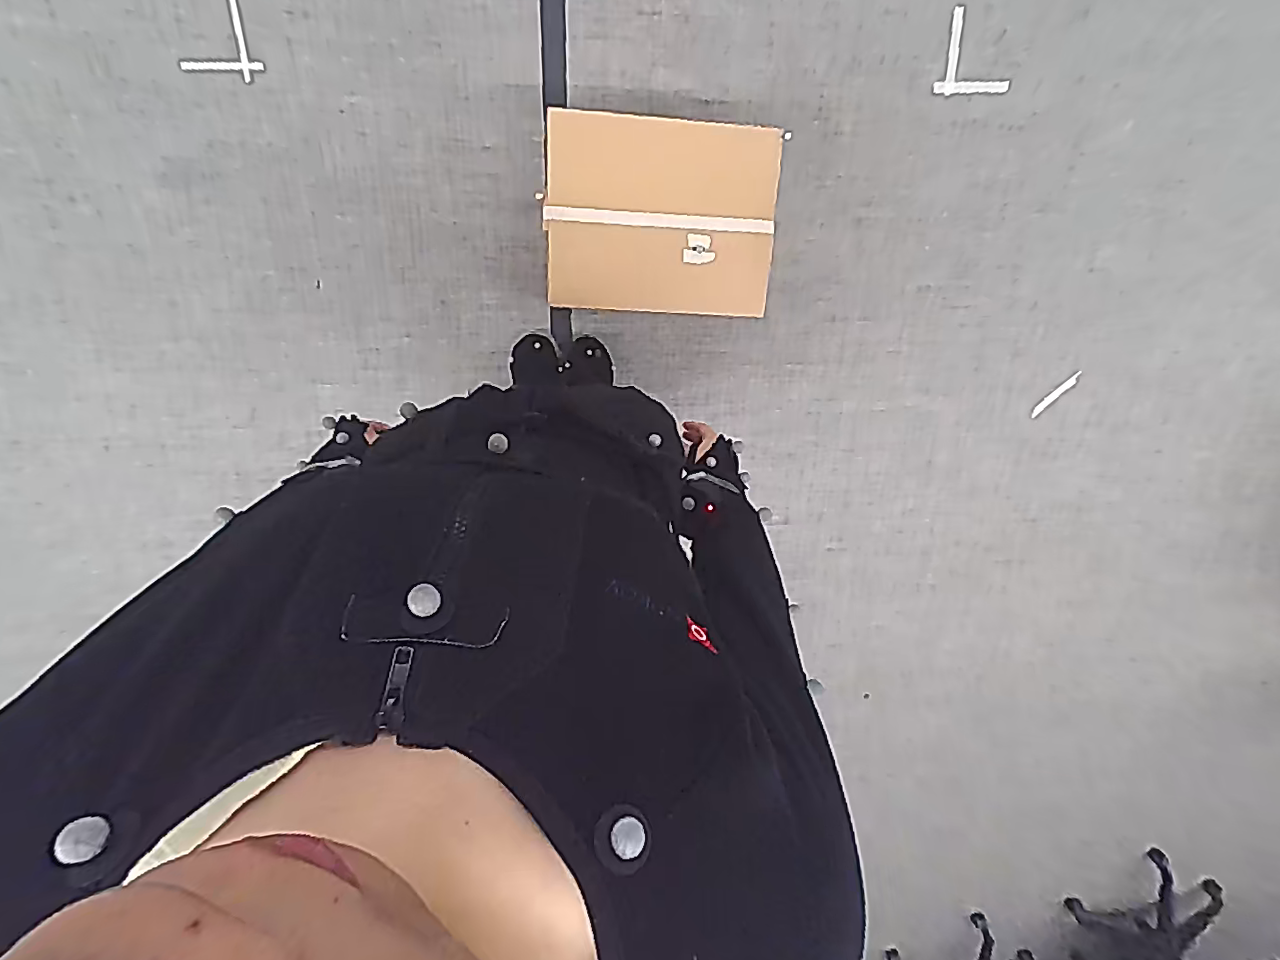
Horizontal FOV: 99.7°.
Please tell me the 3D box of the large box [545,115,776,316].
[{"bbox_3d":[0.017,-0.503,1.101,0.408,0.320,0.320,0,109,-7],"label":"large box"}]
